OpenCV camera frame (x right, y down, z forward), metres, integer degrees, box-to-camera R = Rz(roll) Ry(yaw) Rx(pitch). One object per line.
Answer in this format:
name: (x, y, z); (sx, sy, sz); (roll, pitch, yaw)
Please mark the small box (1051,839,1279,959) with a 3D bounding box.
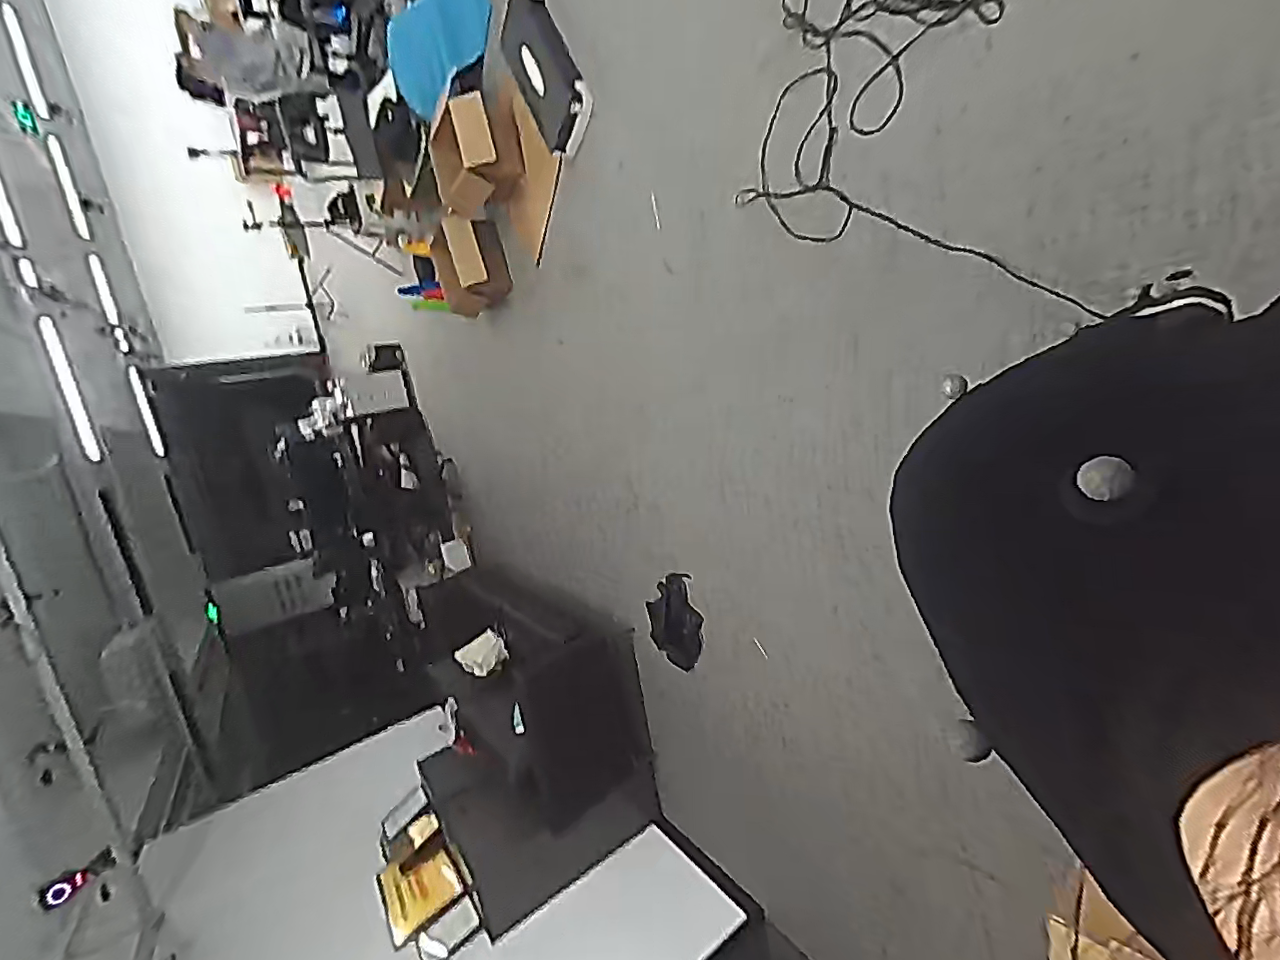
small box: (0.622, 0.583, 0.641); (0.168, 0.176, 0.179); (1, 106, 57)
